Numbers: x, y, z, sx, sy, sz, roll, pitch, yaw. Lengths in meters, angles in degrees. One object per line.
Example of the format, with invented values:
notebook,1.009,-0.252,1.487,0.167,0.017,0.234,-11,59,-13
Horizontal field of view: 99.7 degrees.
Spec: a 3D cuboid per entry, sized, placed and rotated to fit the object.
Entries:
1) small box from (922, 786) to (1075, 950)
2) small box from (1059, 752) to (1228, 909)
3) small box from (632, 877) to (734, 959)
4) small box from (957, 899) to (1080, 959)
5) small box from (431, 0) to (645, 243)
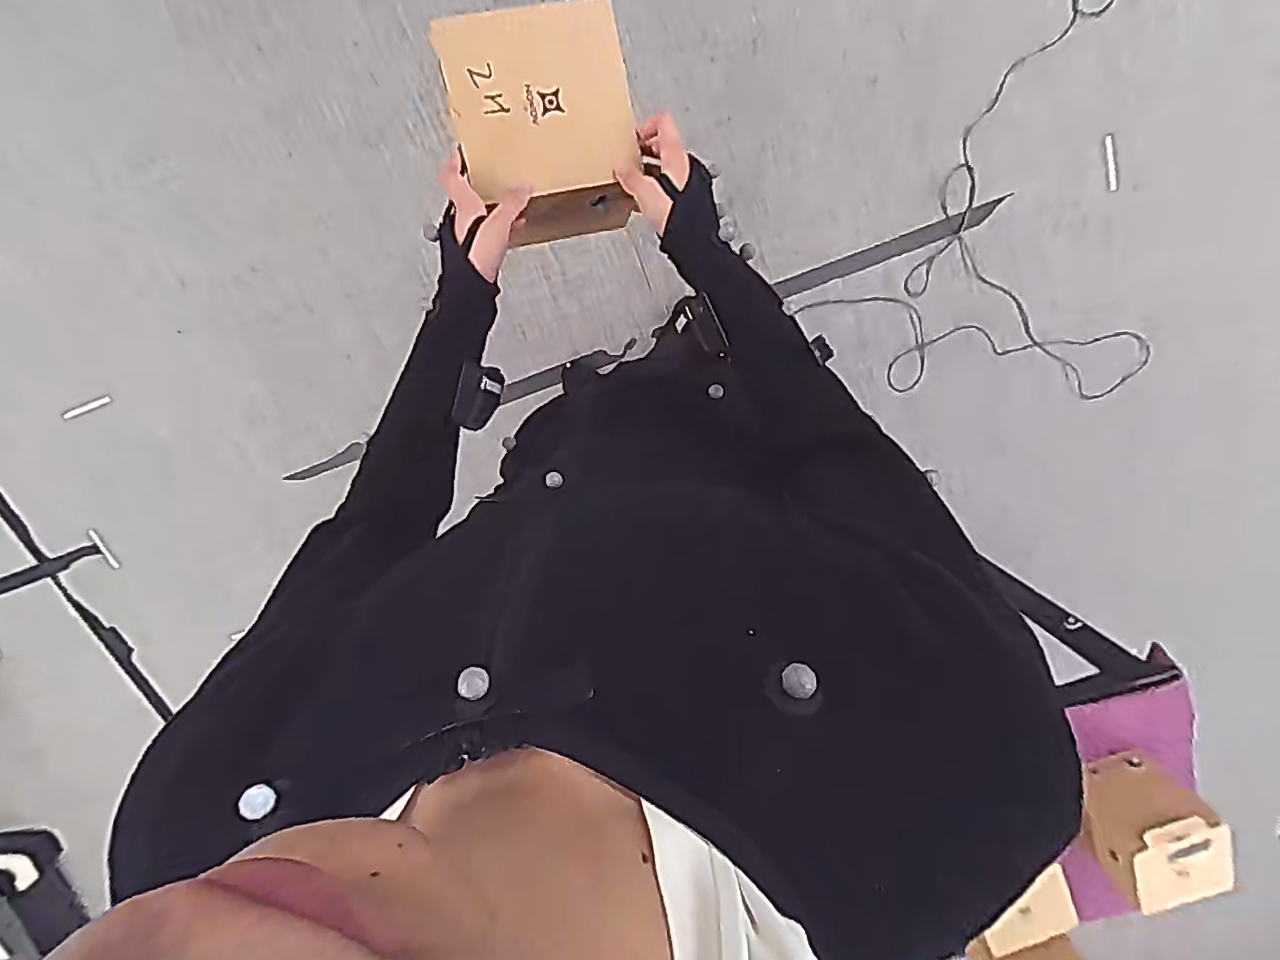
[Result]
small box,0.686,0.746,1.051,0.168,0.176,0.179,-25,106,5
small box,0.943,0.652,1.027,0.168,0.176,0.179,-22,107,5
small box,0.091,0.954,1.096,0.179,0.176,0.168,-19,106,3
small box,0.794,0.997,1.125,0.168,0.176,0.179,-18,106,4
small box,-0.105,-0.377,0.594,0.179,0.176,0.168,-13,101,-6
